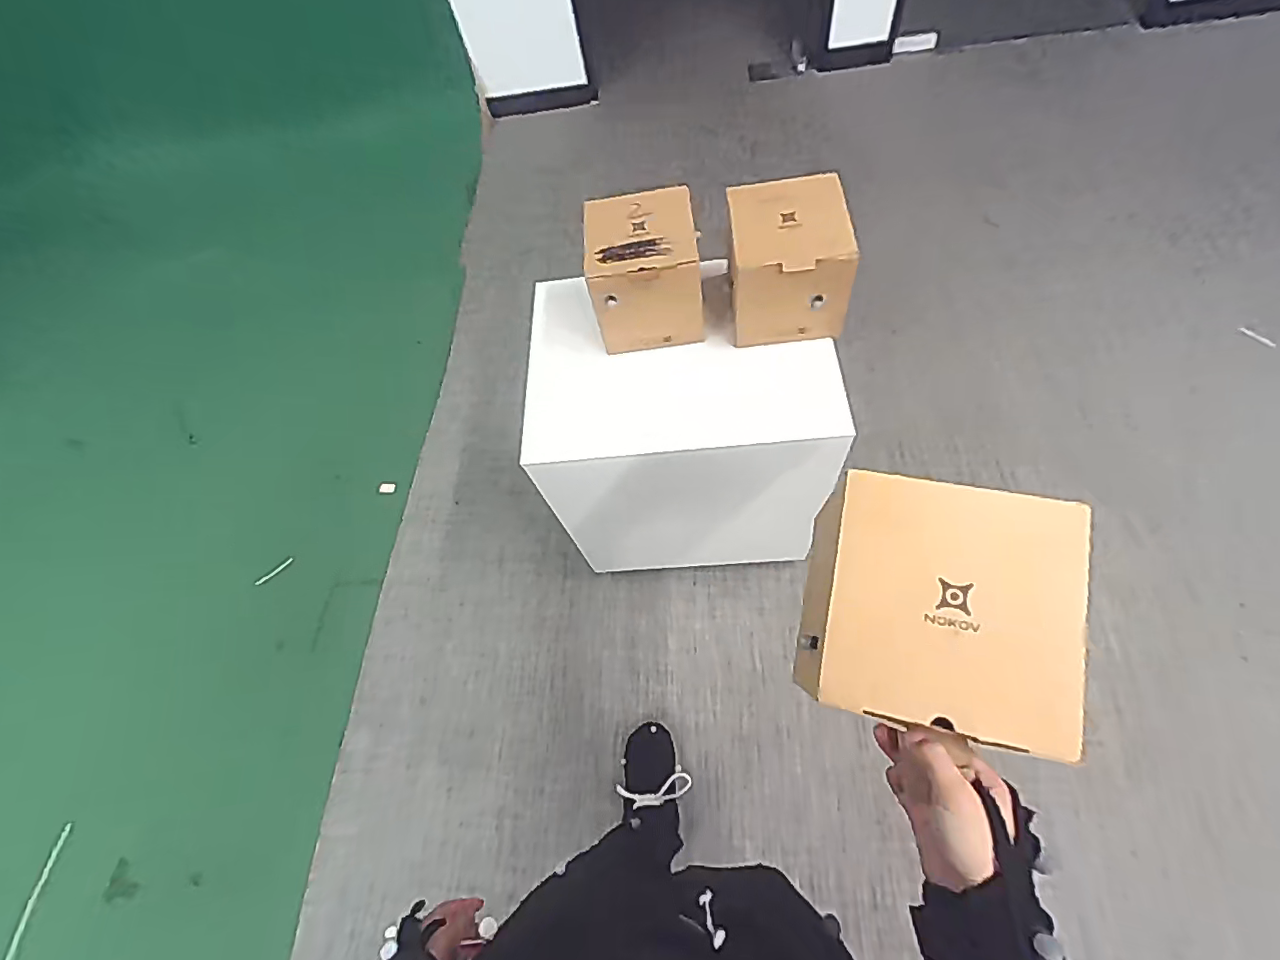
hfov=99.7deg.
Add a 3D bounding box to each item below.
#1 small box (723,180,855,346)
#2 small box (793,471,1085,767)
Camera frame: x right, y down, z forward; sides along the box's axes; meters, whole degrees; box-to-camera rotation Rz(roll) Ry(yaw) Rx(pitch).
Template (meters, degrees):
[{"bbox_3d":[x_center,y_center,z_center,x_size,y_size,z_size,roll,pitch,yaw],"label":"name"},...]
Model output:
[{"bbox_3d":[0.220,-0.325,0.841,0.168,0.176,0.179,-5,62,6],"label":"small box"},{"bbox_3d":[0.229,0.108,0.454,0.168,0.176,0.179,9,77,12],"label":"small box"}]
